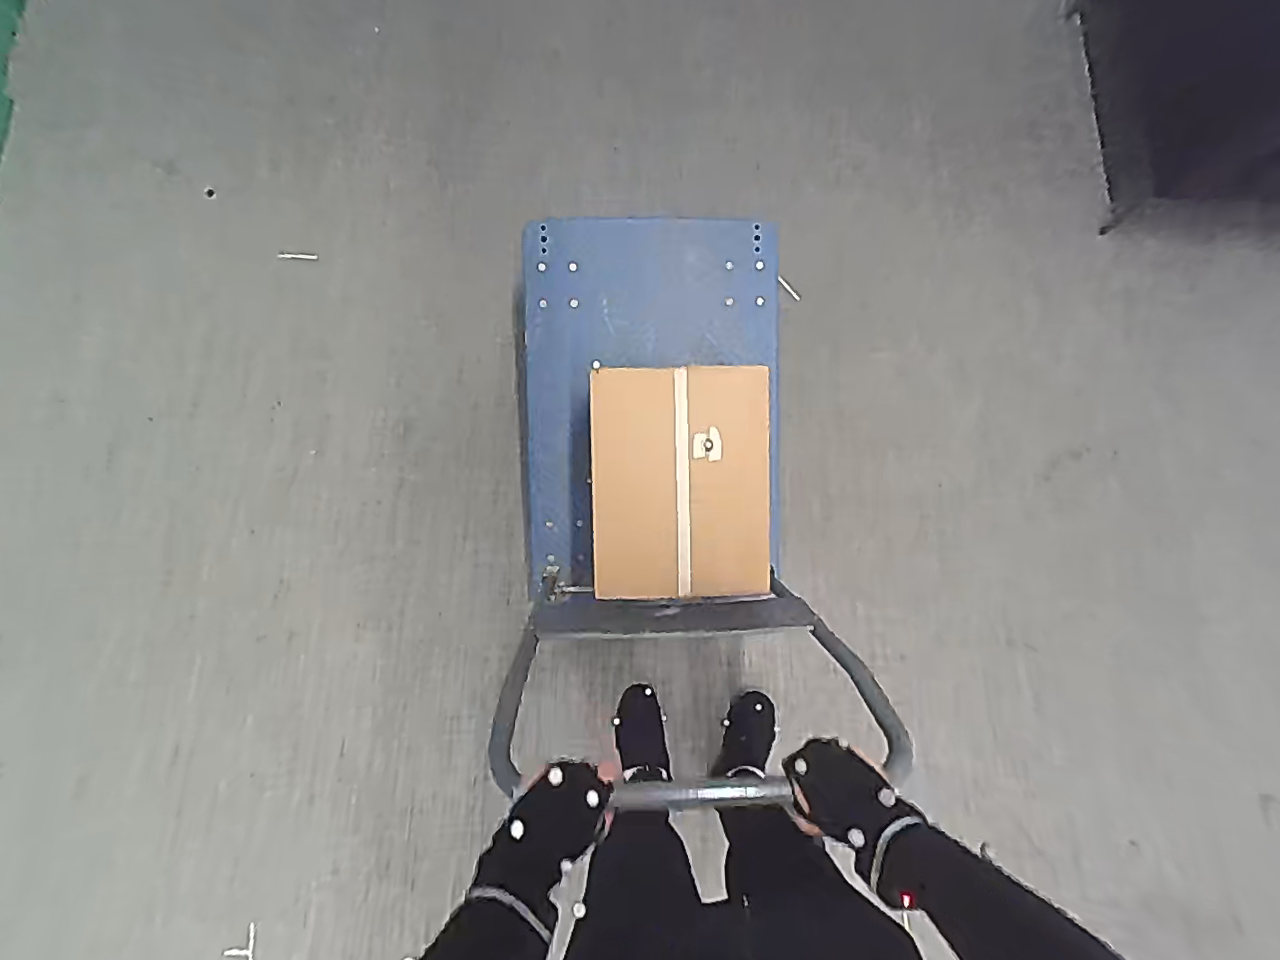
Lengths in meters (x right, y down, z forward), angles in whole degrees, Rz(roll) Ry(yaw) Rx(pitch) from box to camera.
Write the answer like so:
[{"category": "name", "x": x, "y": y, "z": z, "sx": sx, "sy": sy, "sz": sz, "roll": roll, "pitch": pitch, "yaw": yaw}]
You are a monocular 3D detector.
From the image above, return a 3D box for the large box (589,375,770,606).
[{"category": "large box", "x": 0.067, "y": 0.014, "z": 1.099, "sx": 0.320, "sy": 0.320, "sz": 0.408, "roll": -2, "pitch": 93, "yaw": -3}]
